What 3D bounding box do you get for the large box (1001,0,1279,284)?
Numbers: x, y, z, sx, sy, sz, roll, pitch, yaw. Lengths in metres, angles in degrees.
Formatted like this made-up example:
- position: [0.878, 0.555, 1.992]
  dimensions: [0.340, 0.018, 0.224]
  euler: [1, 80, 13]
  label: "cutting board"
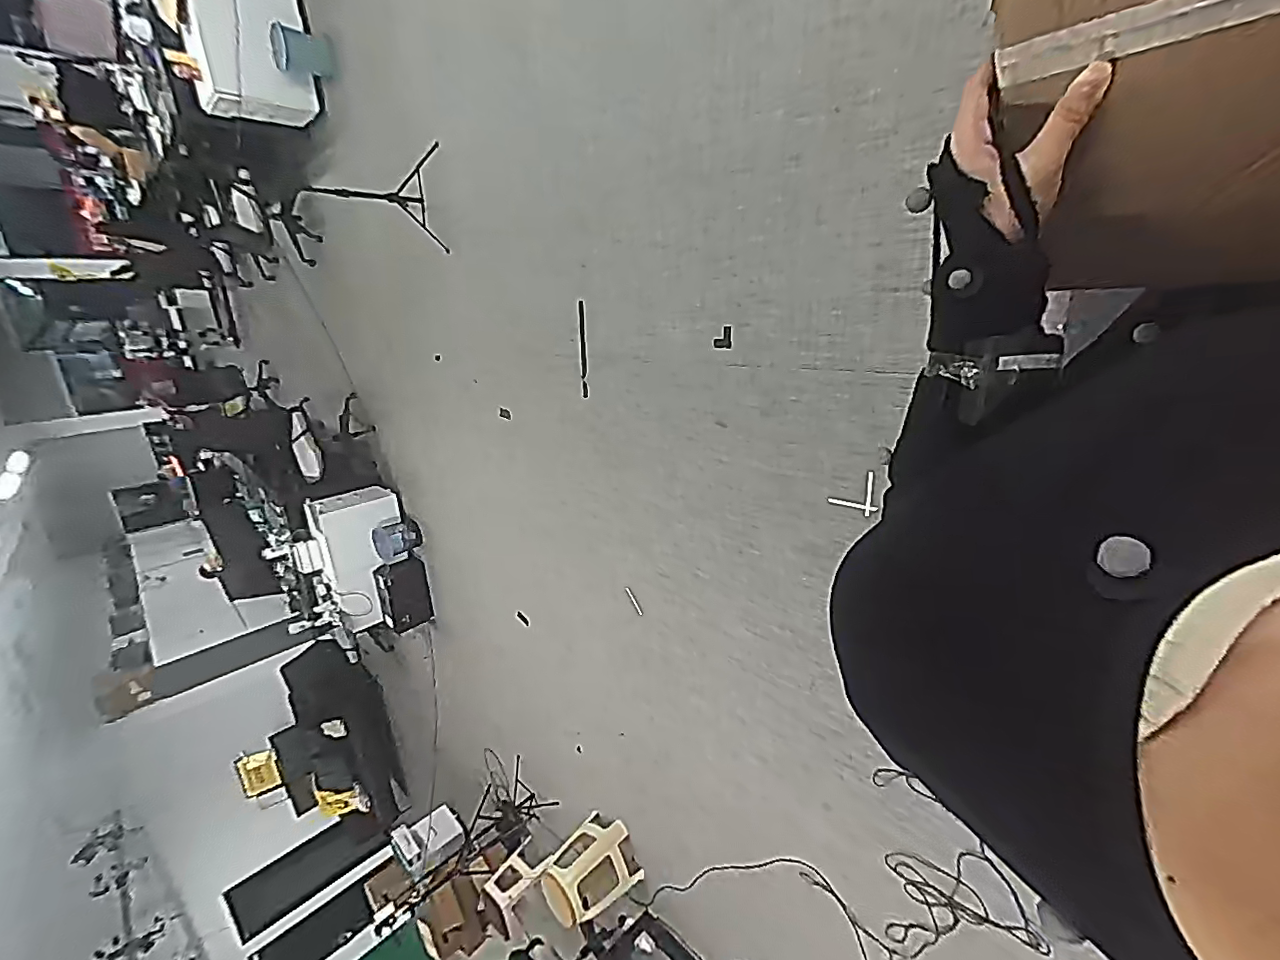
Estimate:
- position: [0.442, -0.330, 0.248]
  dimensions: [0.408, 0.320, 0.320]
  euler: [14, 148, 44]
  label: "large box"
